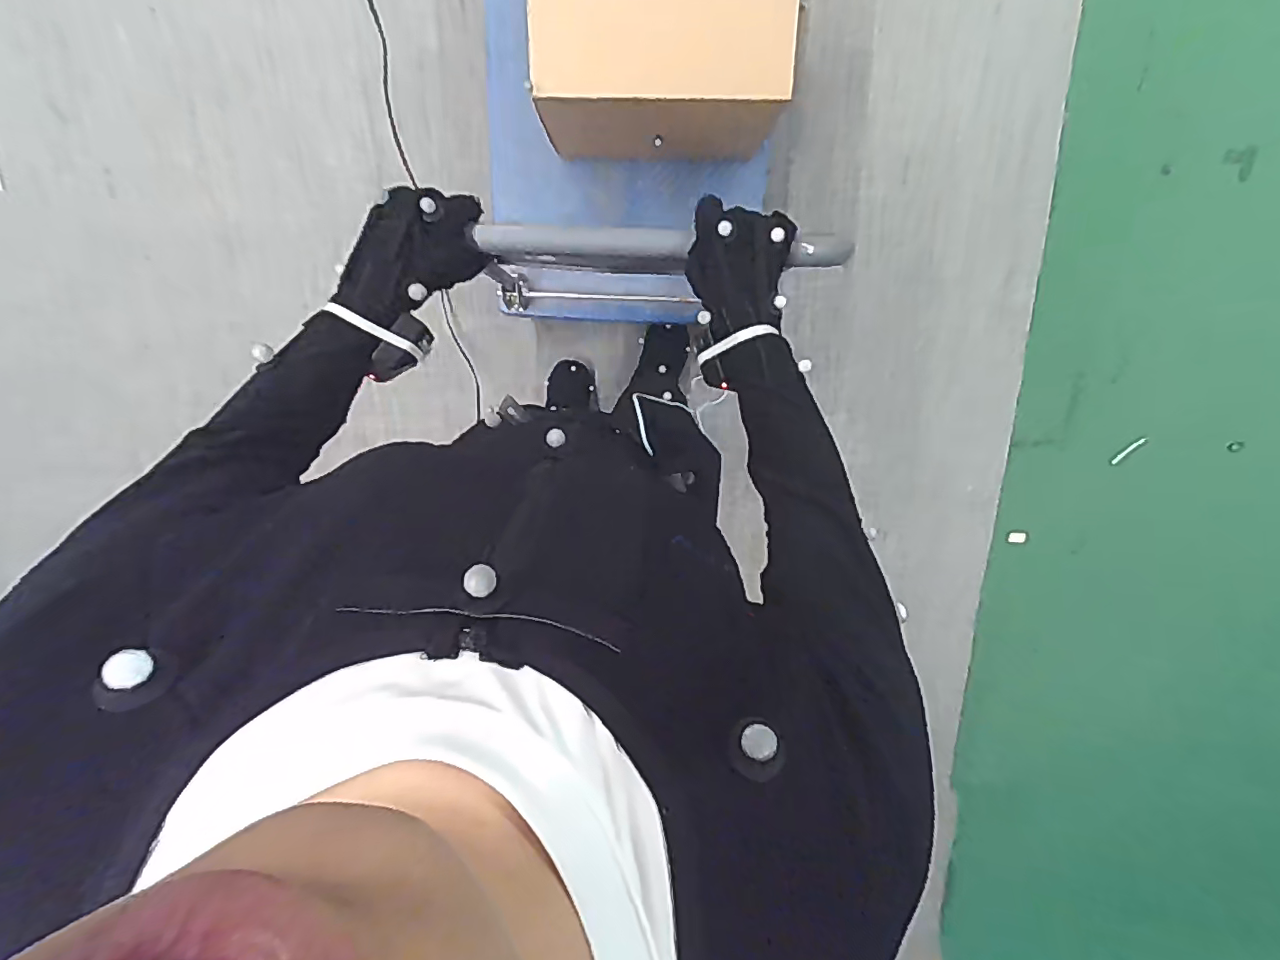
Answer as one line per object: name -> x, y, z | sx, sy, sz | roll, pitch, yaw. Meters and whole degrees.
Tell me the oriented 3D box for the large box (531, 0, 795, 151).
large box -> 0.037, -0.789, 0.942 | 0.408, 0.320, 0.320 | 1, 105, 1
